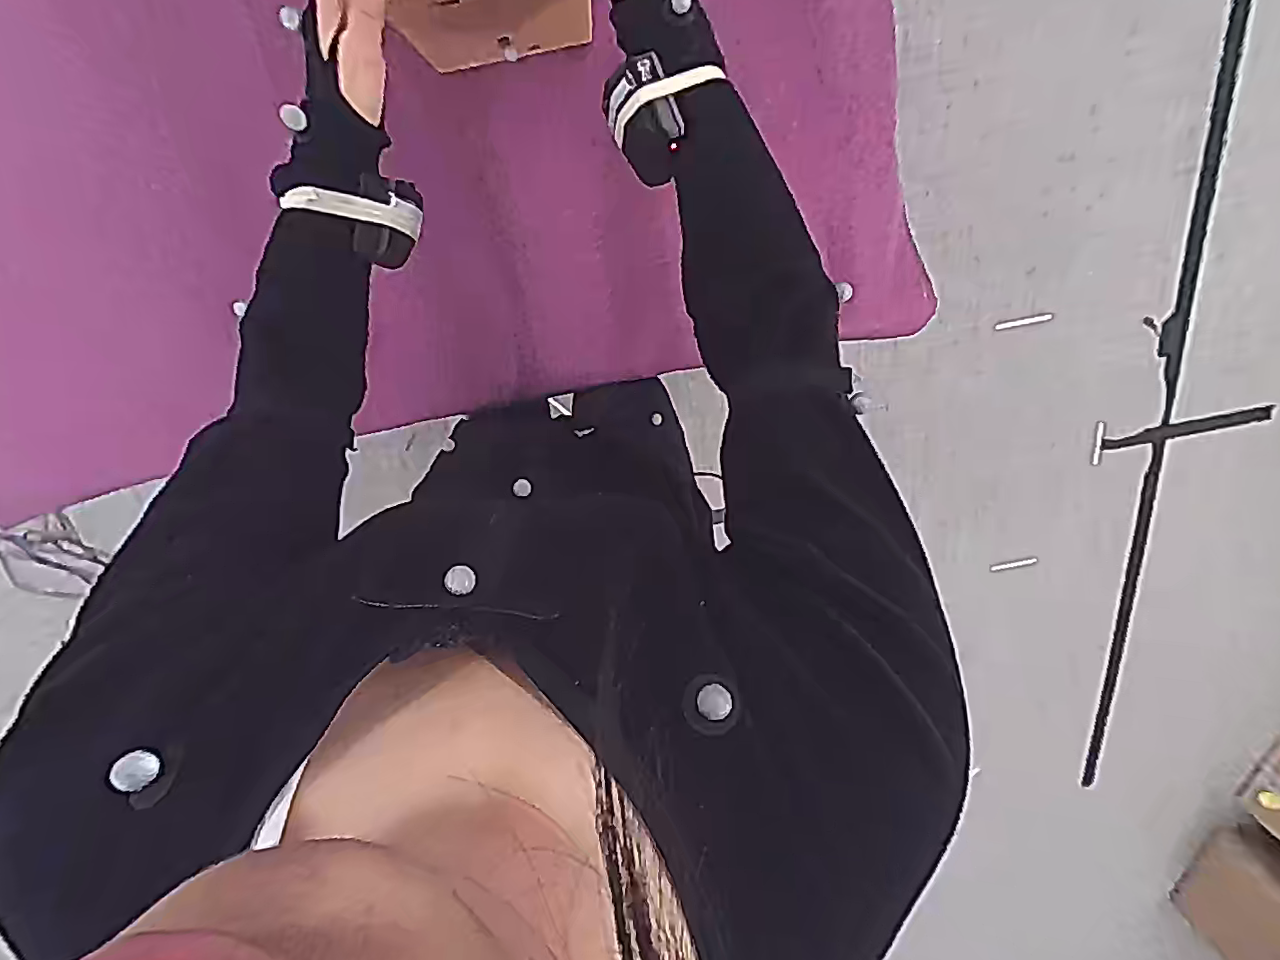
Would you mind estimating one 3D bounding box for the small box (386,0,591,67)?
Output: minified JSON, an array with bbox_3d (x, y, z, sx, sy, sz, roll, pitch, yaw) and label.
[{"bbox_3d":[-0.138,-0.490,0.457,0.168,0.176,0.179,-11,115,1],"label":"small box"}]
